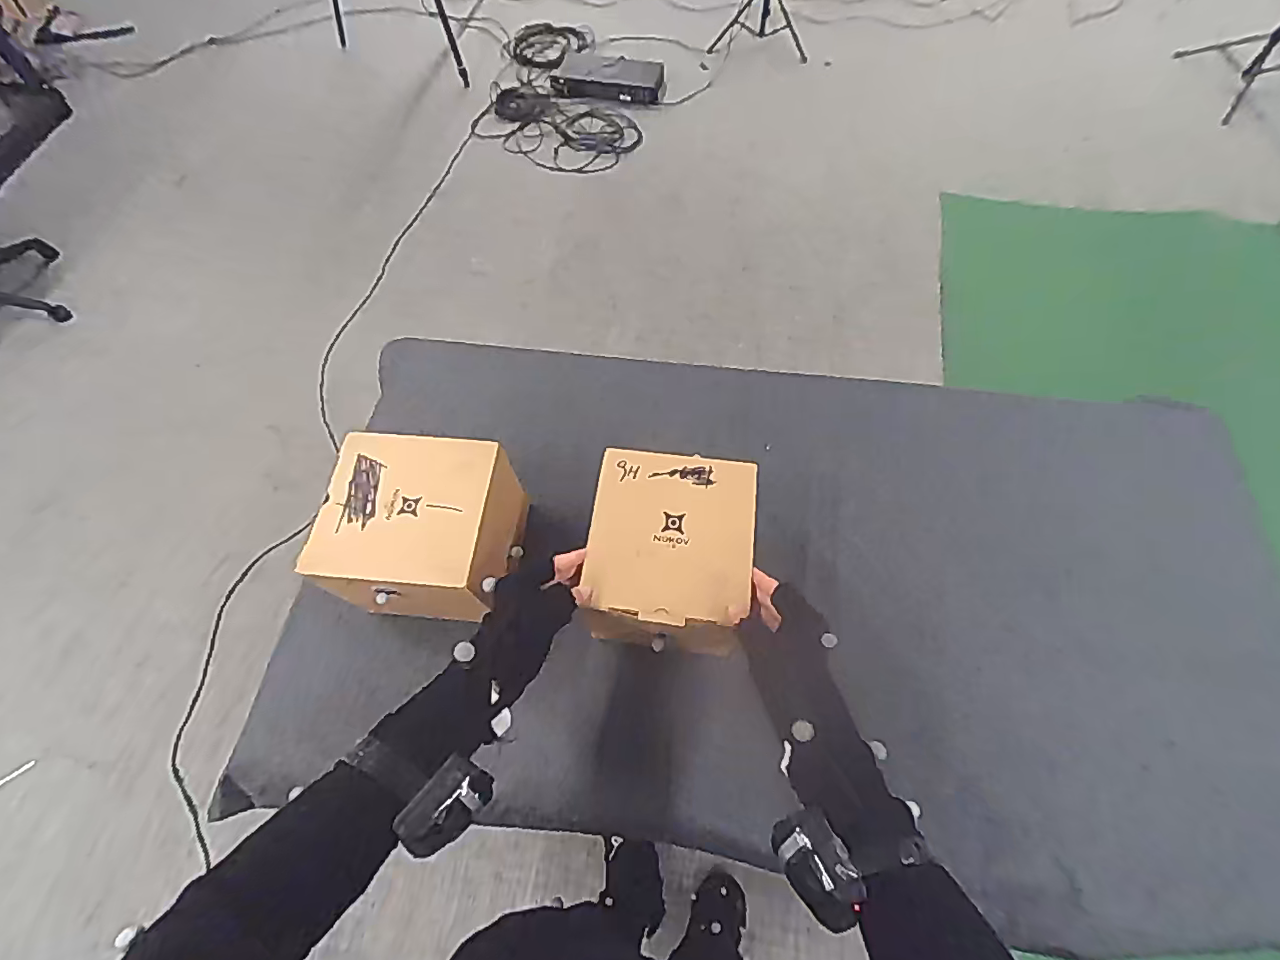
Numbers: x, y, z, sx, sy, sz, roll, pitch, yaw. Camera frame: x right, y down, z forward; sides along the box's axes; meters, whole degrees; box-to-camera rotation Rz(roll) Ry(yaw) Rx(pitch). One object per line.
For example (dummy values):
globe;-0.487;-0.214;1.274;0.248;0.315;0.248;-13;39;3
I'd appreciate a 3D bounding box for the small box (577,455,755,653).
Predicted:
small box;0.035;0.092;0.618;0.168;0.176;0.179;6;64;5

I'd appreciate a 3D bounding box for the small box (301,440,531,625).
small box;-0.242;0.069;0.637;0.179;0.176;0.168;4;64;3
